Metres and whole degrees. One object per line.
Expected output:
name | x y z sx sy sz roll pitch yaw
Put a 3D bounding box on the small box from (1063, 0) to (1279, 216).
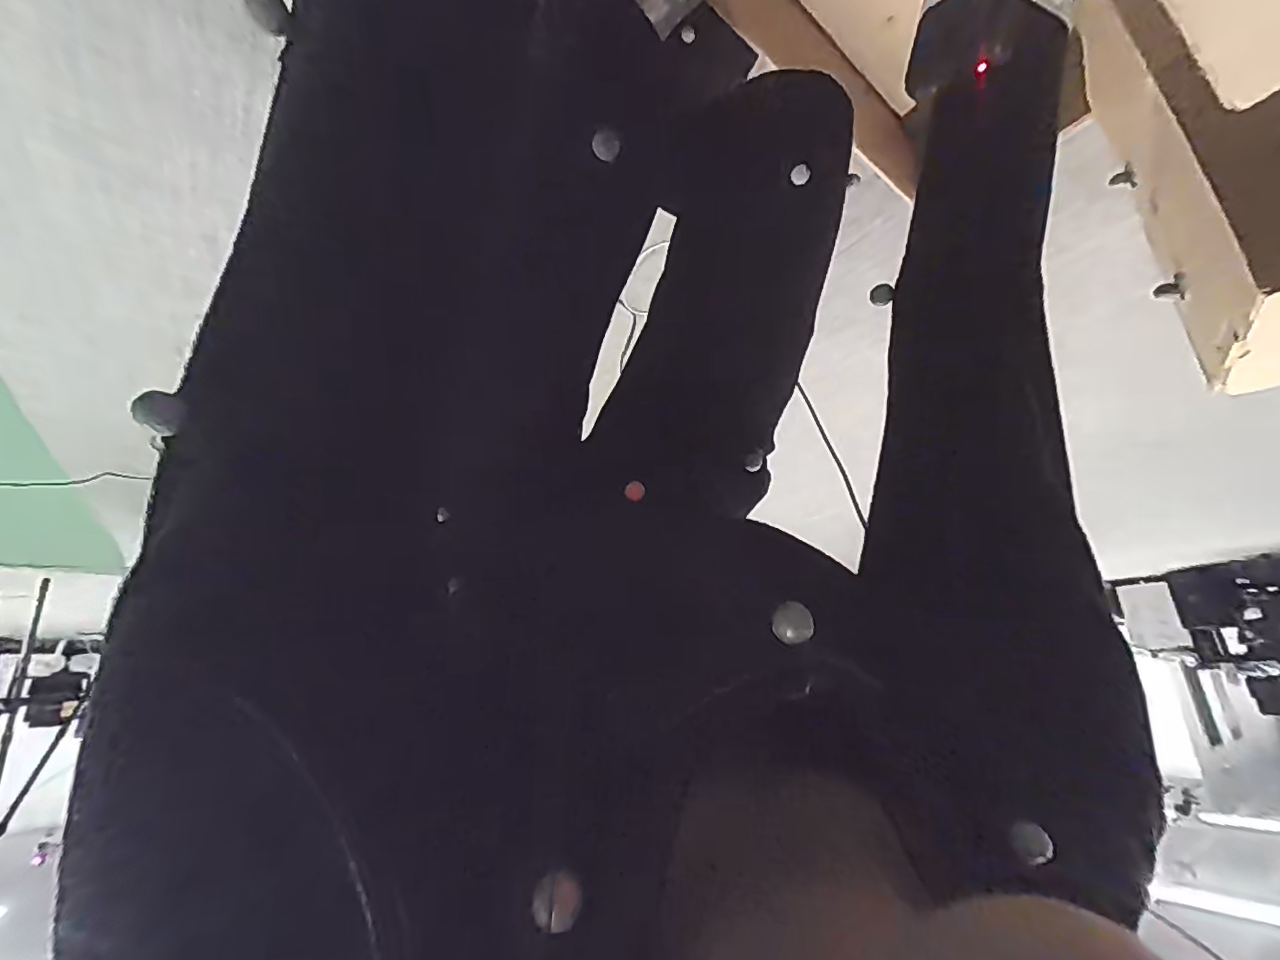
small box | 0.417 -0.326 0.375 0.168 0.176 0.179 -17 155 38
